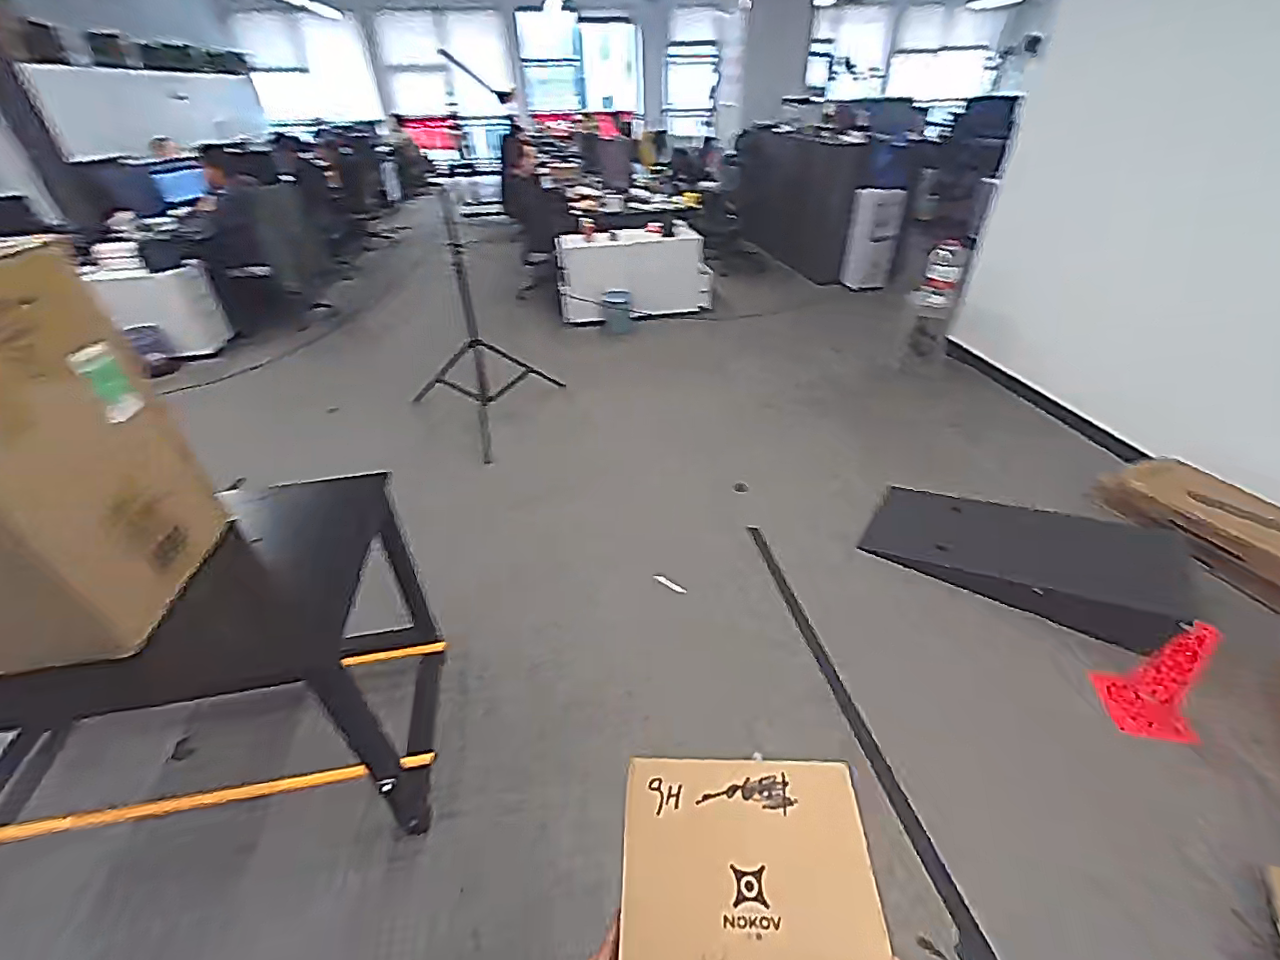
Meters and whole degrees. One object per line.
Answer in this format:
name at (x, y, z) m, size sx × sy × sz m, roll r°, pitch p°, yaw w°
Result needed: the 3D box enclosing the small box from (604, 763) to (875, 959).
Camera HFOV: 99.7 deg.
small box at (0.065, 0.329, 0.396) m, size 0.168 × 0.176 × 0.179 m, roll -1°, pitch 43°, yaw 3°
